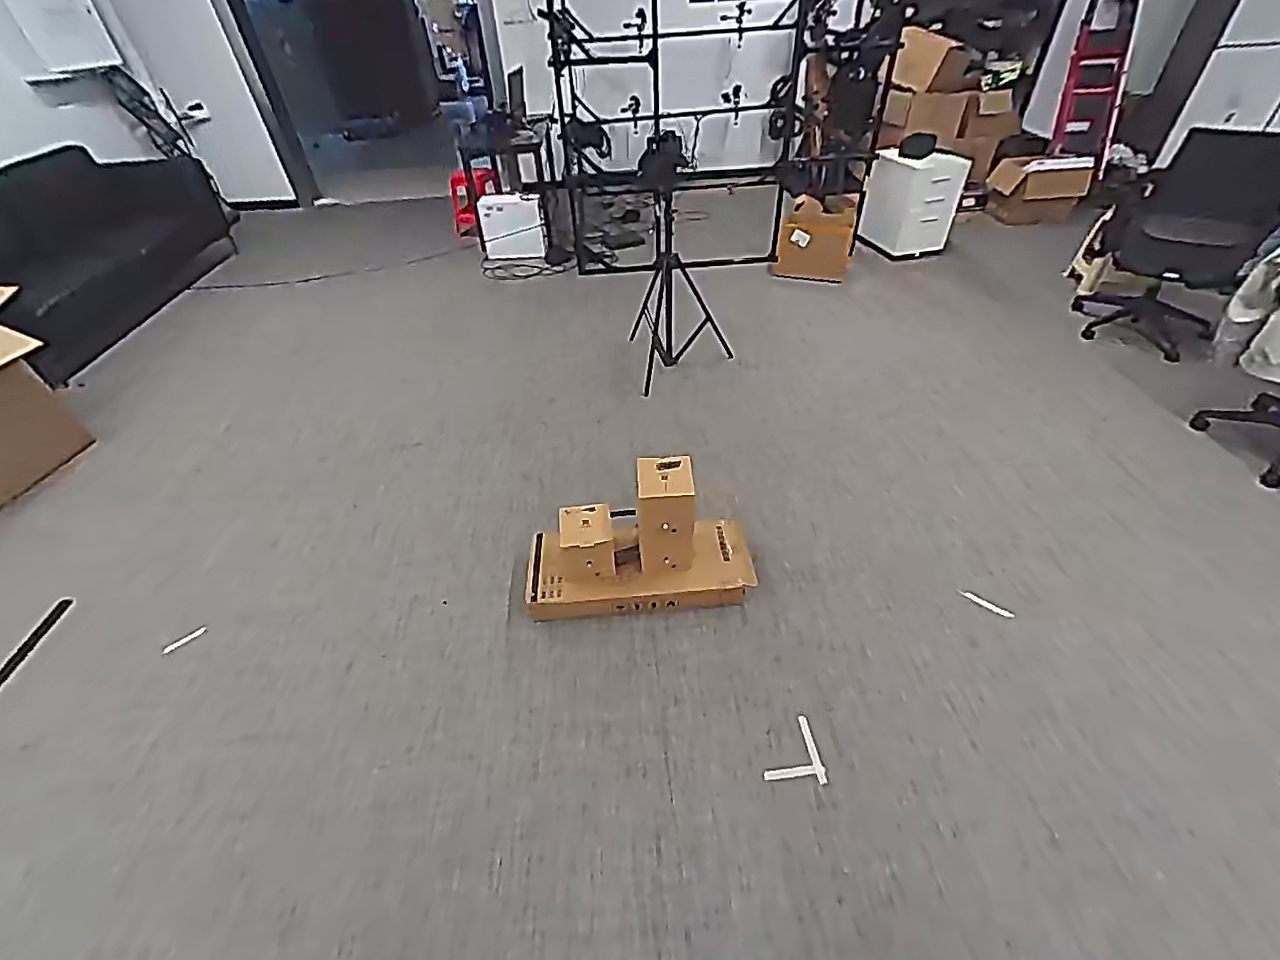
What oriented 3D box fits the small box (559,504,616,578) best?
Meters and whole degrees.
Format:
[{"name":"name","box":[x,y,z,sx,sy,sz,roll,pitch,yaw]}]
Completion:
[{"name":"small box","box":[-0.170,0.204,1.760,0.168,0.176,0.179,-6,42,-4]}]

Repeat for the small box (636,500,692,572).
[{"name":"small box","box":[0.076,0.178,1.774,0.168,0.176,0.179,-5,41,-2]}]

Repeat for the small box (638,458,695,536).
[{"name":"small box","box":[0.078,0.054,1.667,0.168,0.176,0.179,-3,42,1]}]
